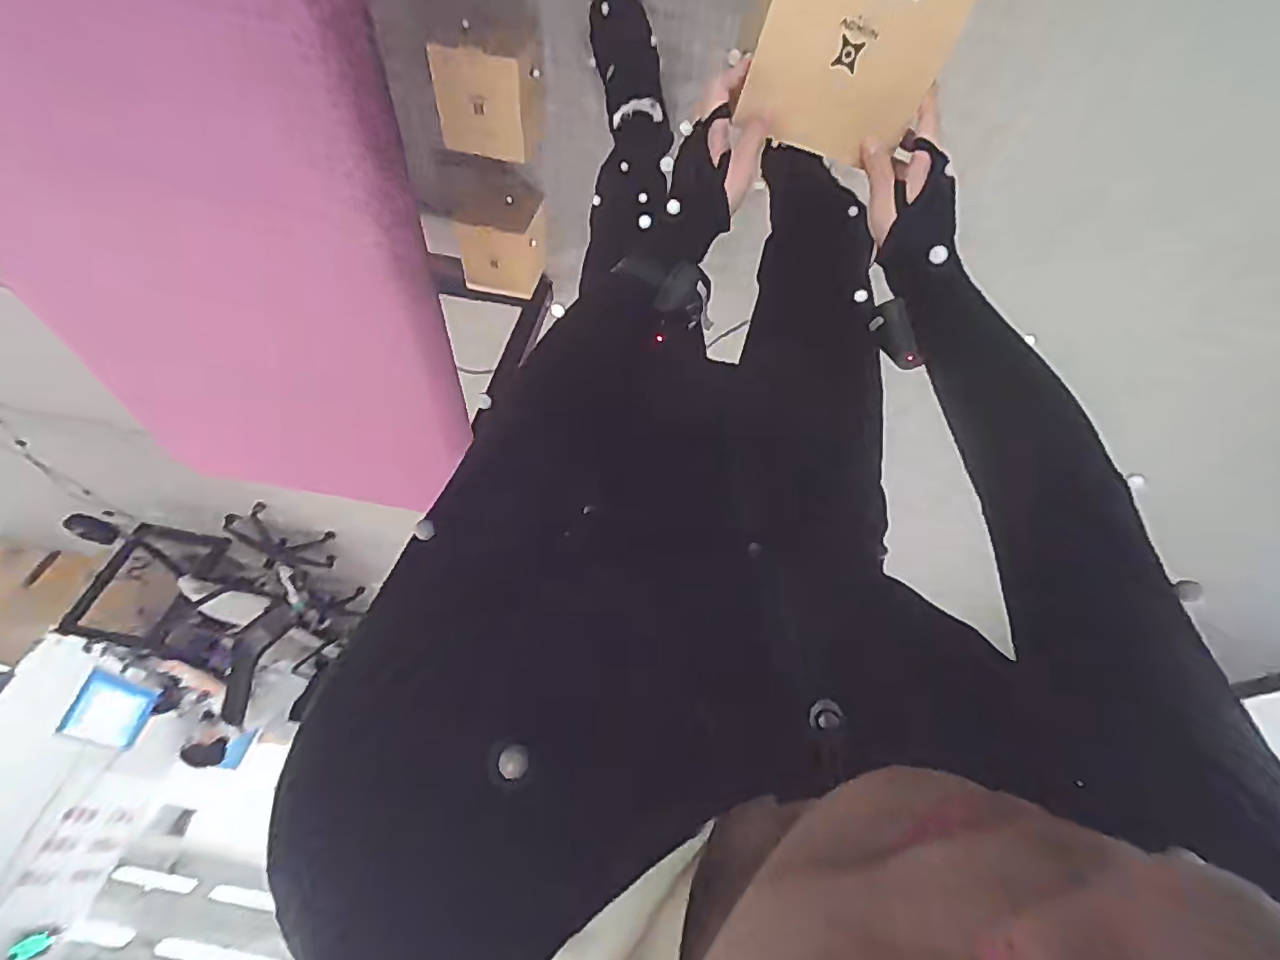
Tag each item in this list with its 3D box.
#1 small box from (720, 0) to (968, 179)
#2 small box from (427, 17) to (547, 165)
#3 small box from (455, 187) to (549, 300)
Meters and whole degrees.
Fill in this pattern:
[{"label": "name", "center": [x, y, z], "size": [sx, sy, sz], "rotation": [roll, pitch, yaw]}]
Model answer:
[{"label": "small box", "center": [0.184, -0.436, 0.534], "size": [0.168, 0.176, 0.179], "rotation": [13, 133, -9]}, {"label": "small box", "center": [-0.282, -0.750, 1.041], "size": [0.168, 0.176, 0.179], "rotation": [12, 146, 1]}, {"label": "small box", "center": [-0.323, -0.571, 1.308], "size": [0.168, 0.176, 0.179], "rotation": [10, 145, 2]}]
